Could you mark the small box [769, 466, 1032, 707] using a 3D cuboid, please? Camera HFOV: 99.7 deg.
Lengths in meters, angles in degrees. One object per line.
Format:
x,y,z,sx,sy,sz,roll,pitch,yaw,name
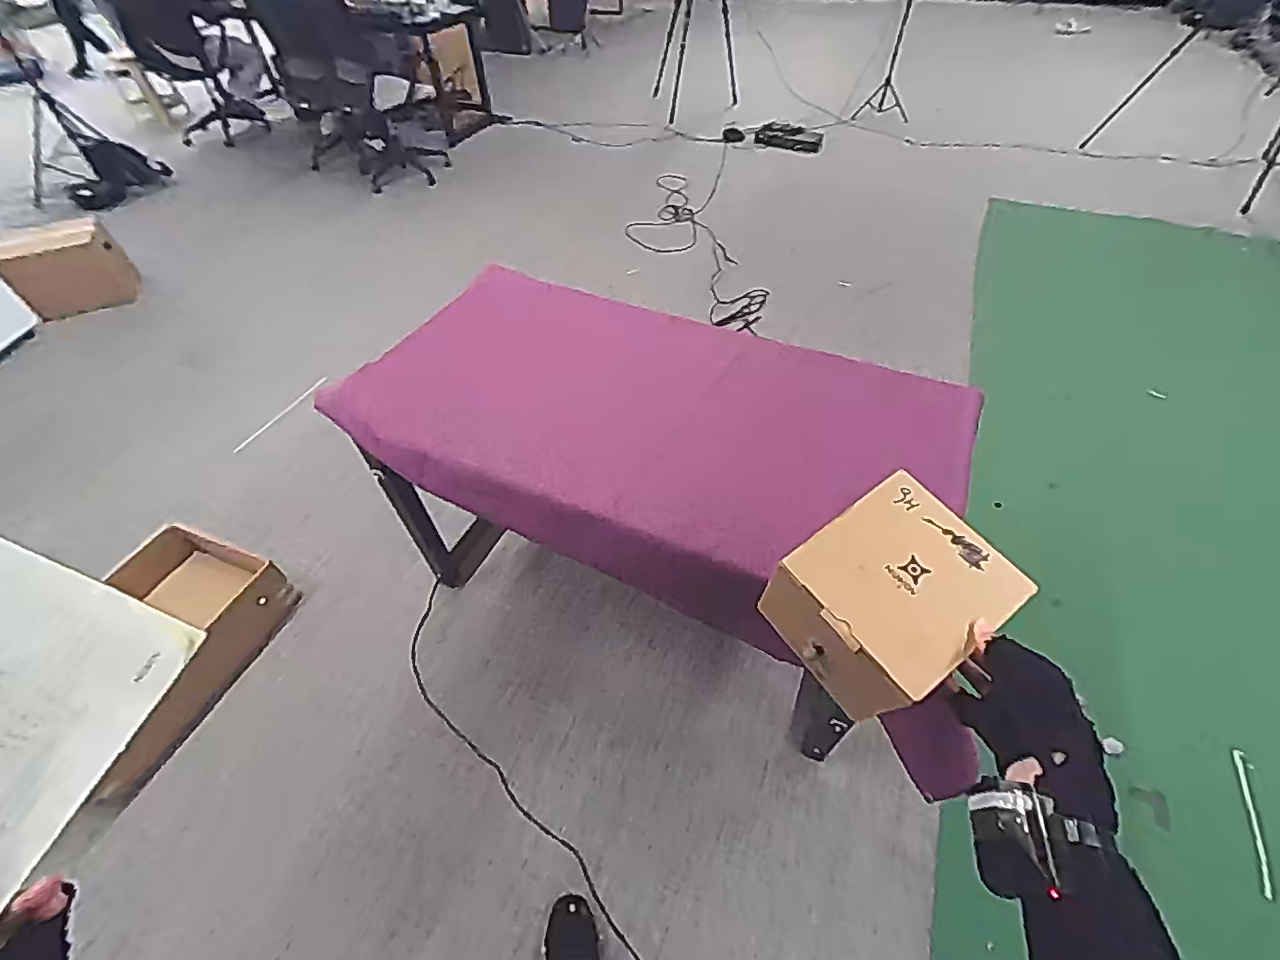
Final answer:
0.258,0.124,0.588,0.179,0.176,0.168,-35,66,-13,small box
